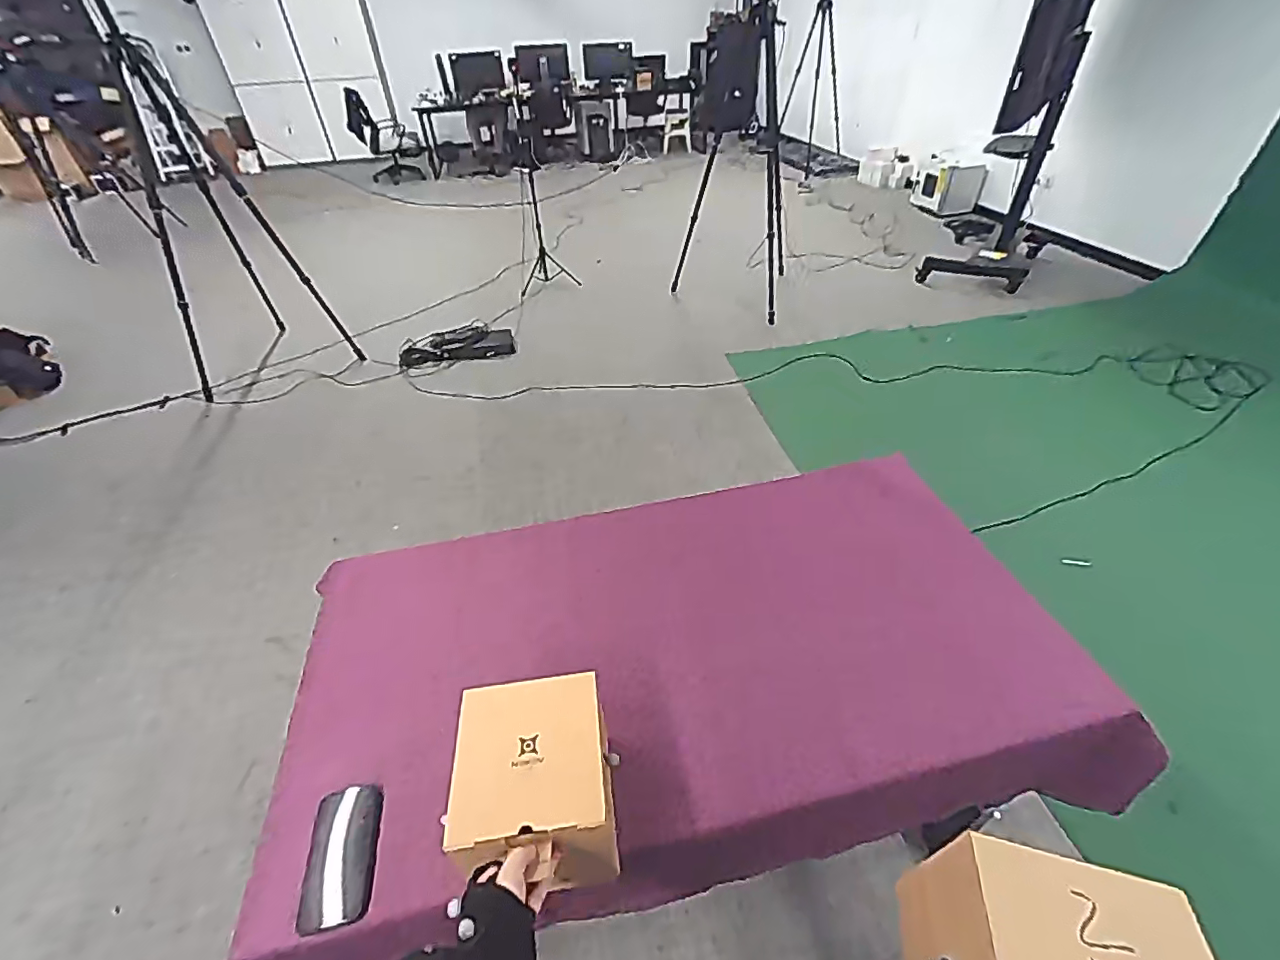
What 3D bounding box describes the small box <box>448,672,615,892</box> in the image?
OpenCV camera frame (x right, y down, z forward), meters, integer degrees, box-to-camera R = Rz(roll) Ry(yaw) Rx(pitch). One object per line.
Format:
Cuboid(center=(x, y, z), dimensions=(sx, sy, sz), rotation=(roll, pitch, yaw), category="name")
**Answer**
Cuboid(center=(-0.122, 0.368, 0.667), dimensions=(0.168, 0.176, 0.179), rotation=(-7, 39, -4), category="small box")
